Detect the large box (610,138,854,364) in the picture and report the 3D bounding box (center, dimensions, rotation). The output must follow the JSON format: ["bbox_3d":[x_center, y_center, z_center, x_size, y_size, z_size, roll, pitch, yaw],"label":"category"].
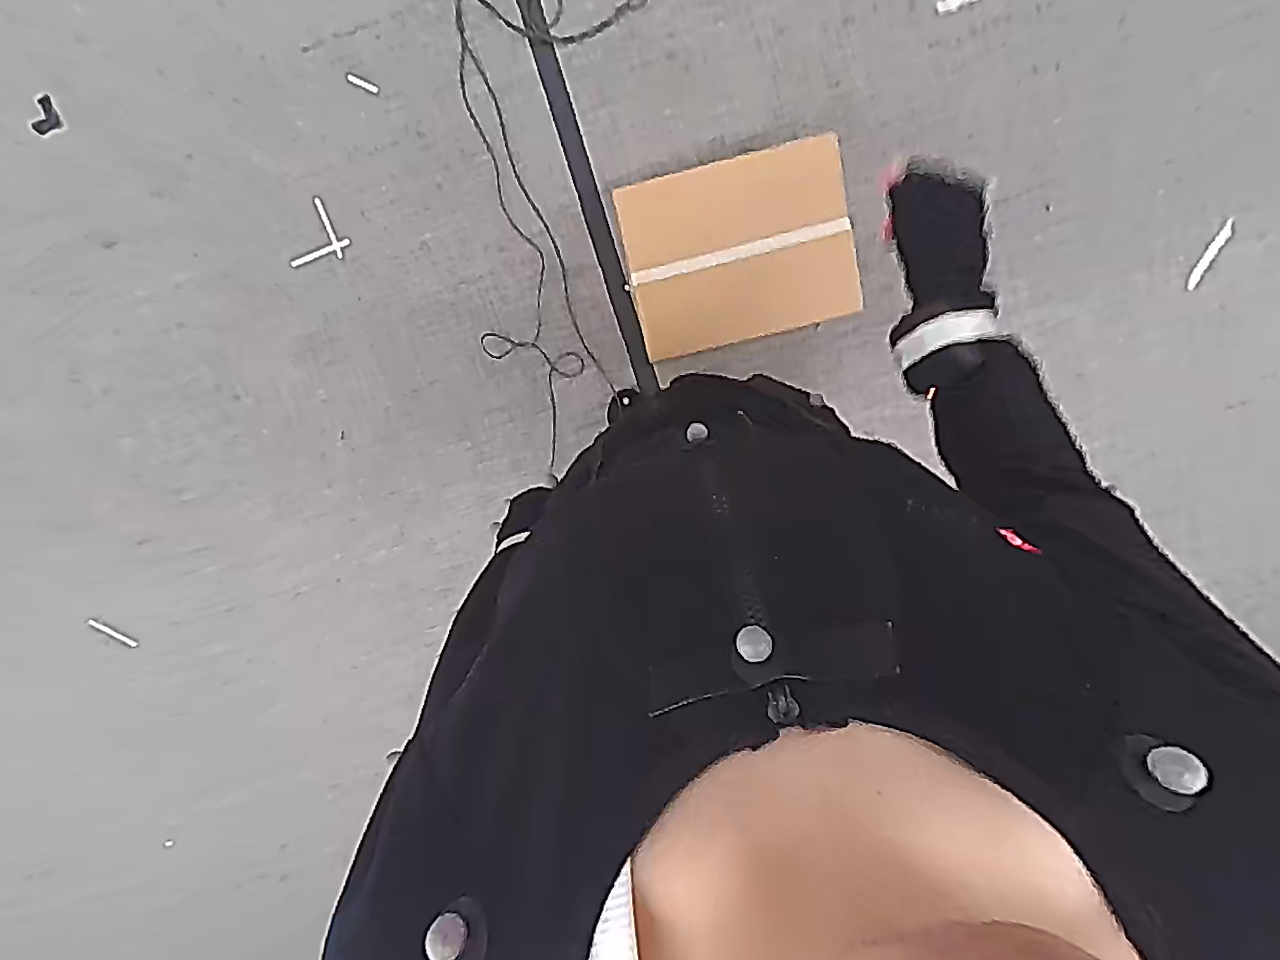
[{"bbox_3d":[0.176,-0.443,1.136,0.408,0.320,0.320,-13,100,3],"label":"large box"}]
